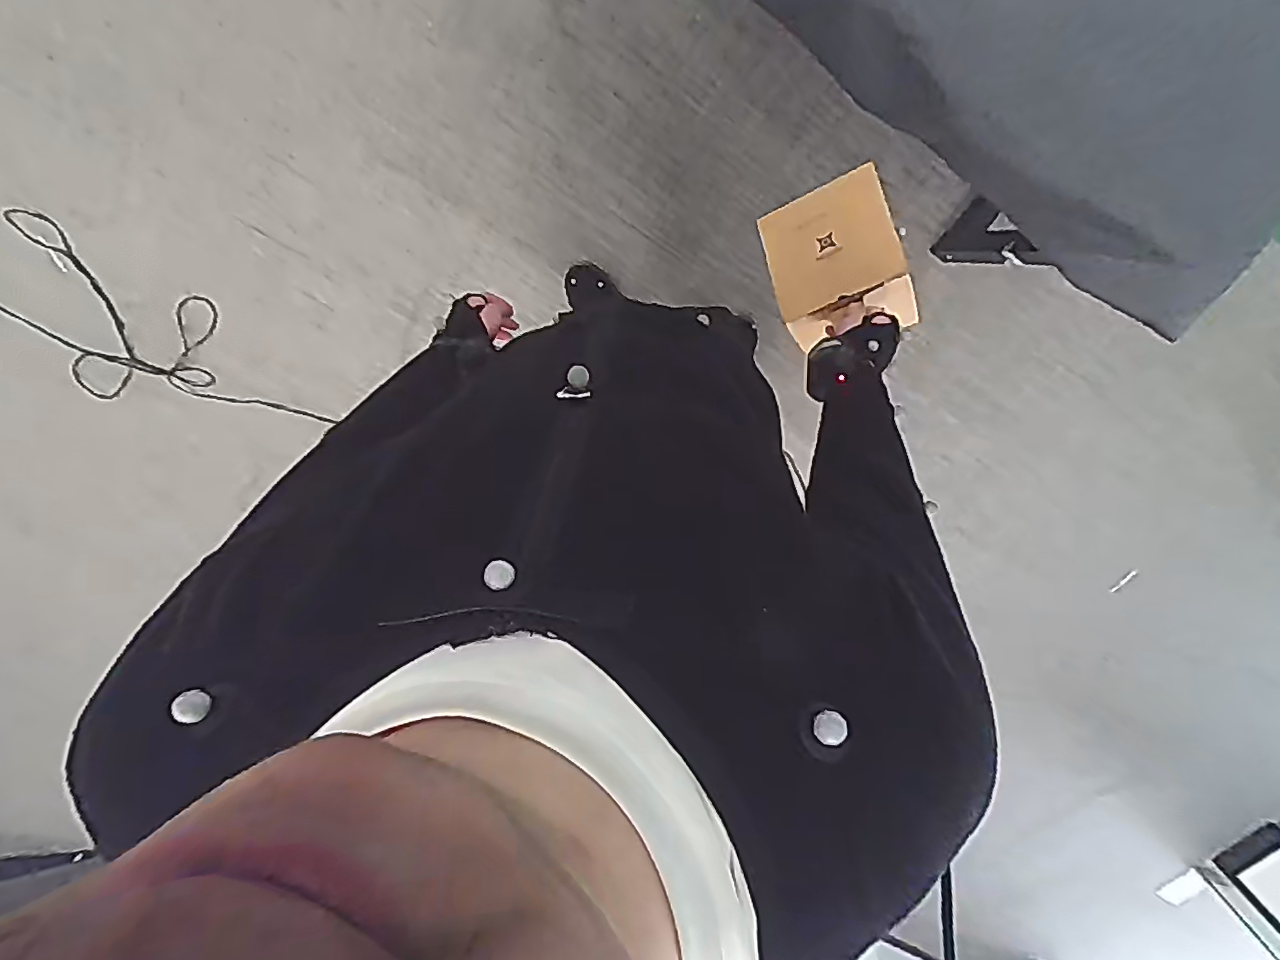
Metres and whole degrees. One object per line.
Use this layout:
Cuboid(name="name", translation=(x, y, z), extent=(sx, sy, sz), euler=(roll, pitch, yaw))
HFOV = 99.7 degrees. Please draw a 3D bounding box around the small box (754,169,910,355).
Cuboid(name="small box", translation=(0.289, -0.303, 0.803), extent=(0.168, 0.176, 0.179), euler=(-17, 74, 27))
